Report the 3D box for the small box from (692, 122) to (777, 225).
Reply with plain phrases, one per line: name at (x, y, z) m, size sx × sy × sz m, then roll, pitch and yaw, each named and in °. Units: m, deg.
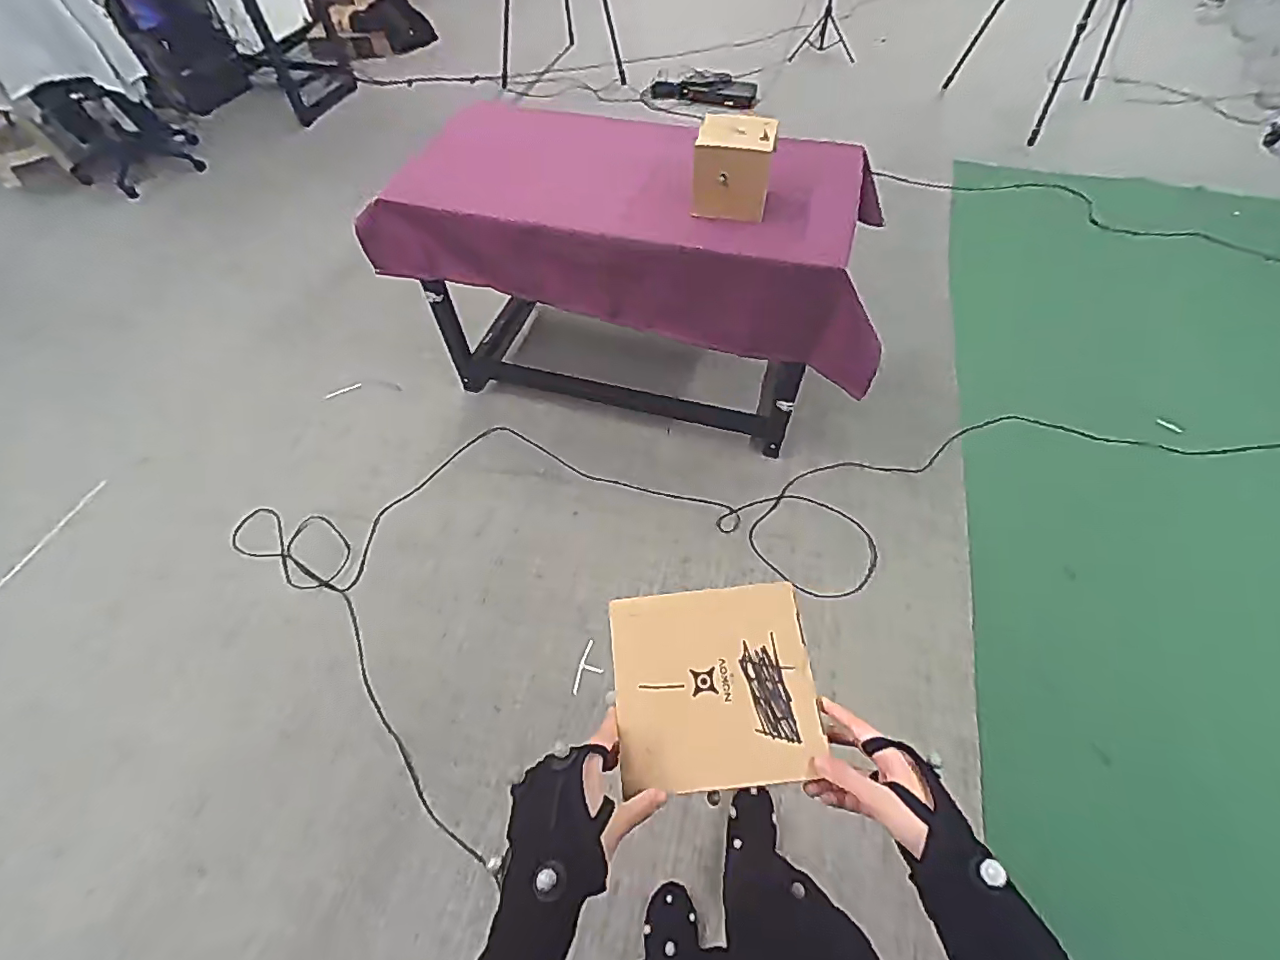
small box at (0.226, -0.747, 1.322) m, size 0.179 × 0.176 × 0.168 m, roll 10°, pitch 56°, yaw 10°
